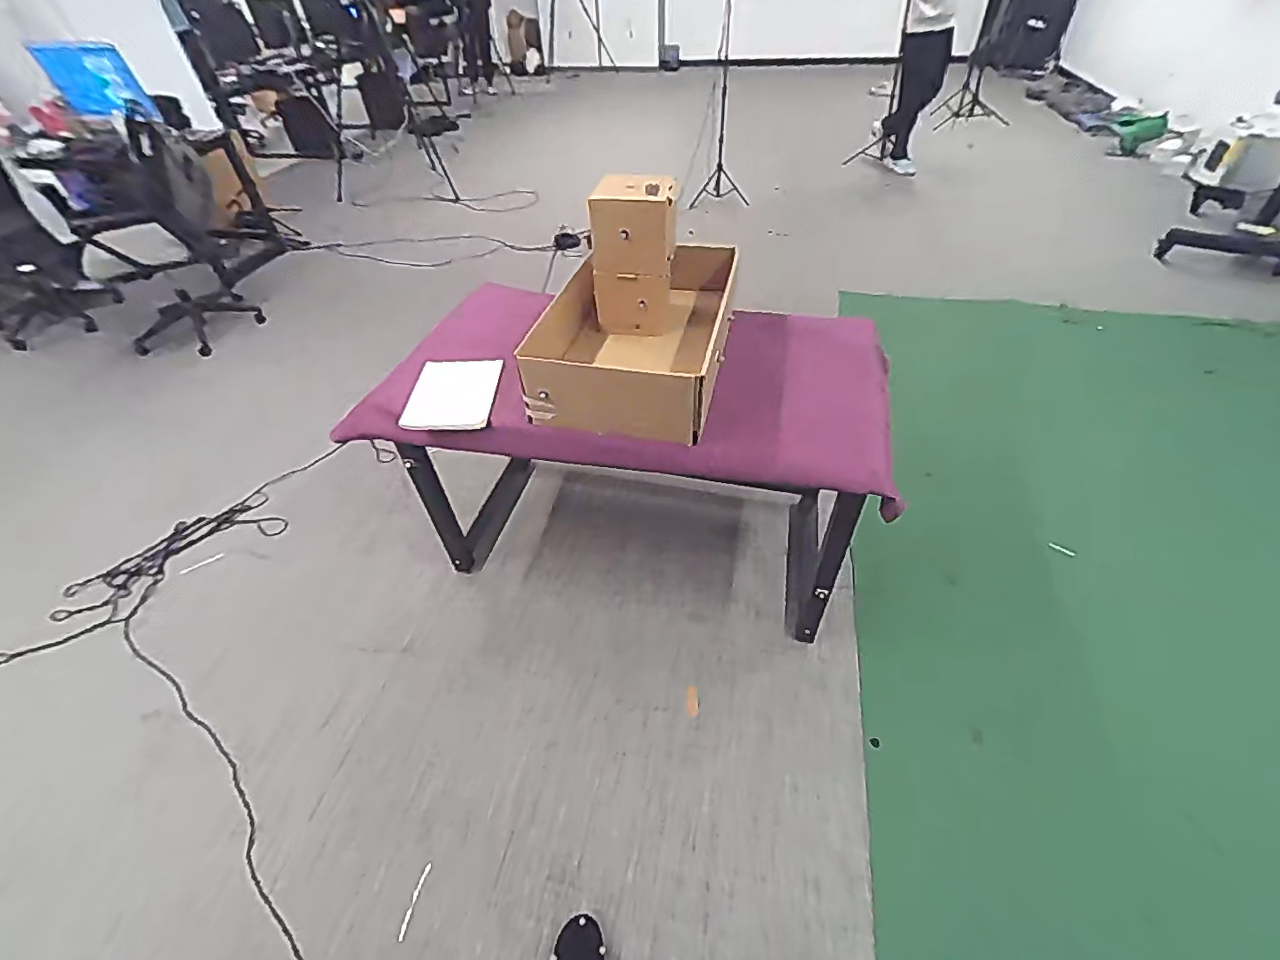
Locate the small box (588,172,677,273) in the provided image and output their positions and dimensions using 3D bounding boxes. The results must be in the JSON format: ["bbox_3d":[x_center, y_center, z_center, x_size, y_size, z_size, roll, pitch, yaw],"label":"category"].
[{"bbox_3d":[-0.011,-0.605,1.276,0.179,0.176,0.168,6,47,9],"label":"small box"}]
